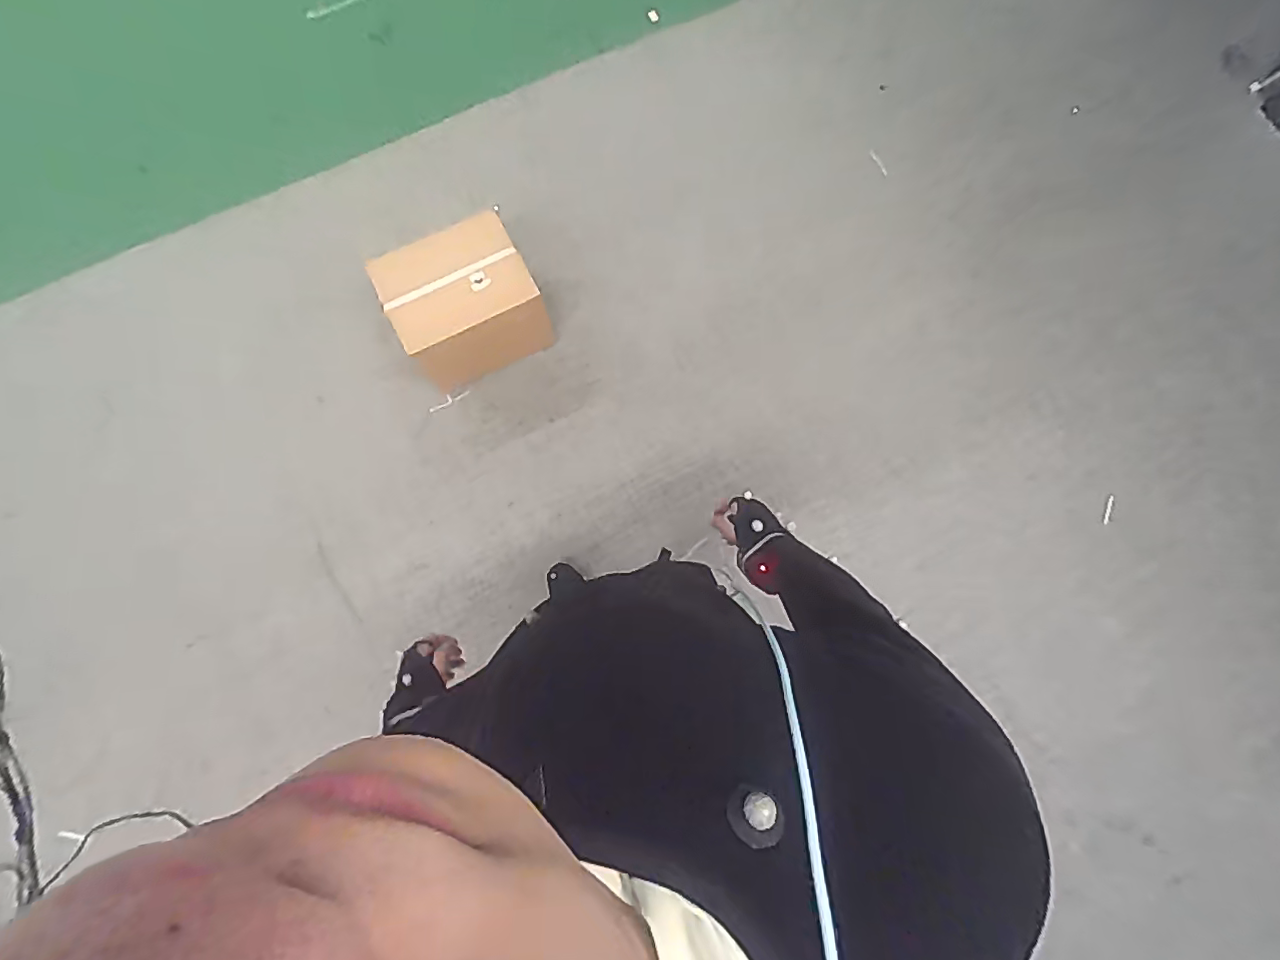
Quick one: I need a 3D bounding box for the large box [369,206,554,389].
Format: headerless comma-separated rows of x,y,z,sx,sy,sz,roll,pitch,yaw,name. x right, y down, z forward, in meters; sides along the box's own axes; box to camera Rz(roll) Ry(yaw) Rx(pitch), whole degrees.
-0.525,-0.540,1.656,0.408,0.320,0.320,-27,80,-7,large box
